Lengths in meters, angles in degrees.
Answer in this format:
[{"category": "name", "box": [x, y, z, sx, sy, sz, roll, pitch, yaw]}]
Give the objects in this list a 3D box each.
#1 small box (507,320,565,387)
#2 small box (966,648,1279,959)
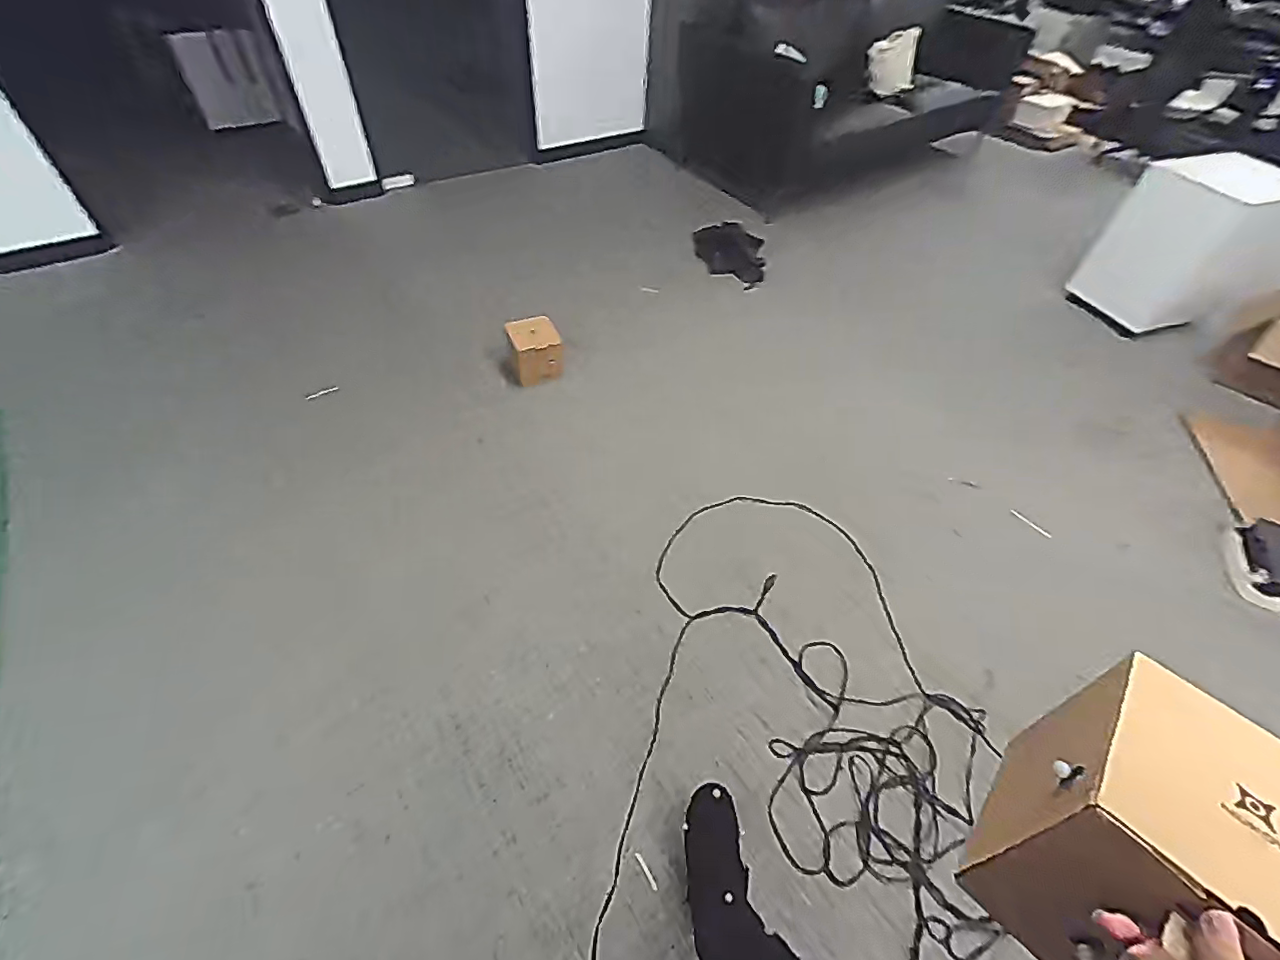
[{"category": "small box", "box": [-0.382, -0.462, 2.008, 0.168, 0.176, 0.179, -18, 52, -20]}, {"category": "small box", "box": [0.384, 0.271, 0.404, 0.168, 0.176, 0.179, 37, 46, 27]}]
